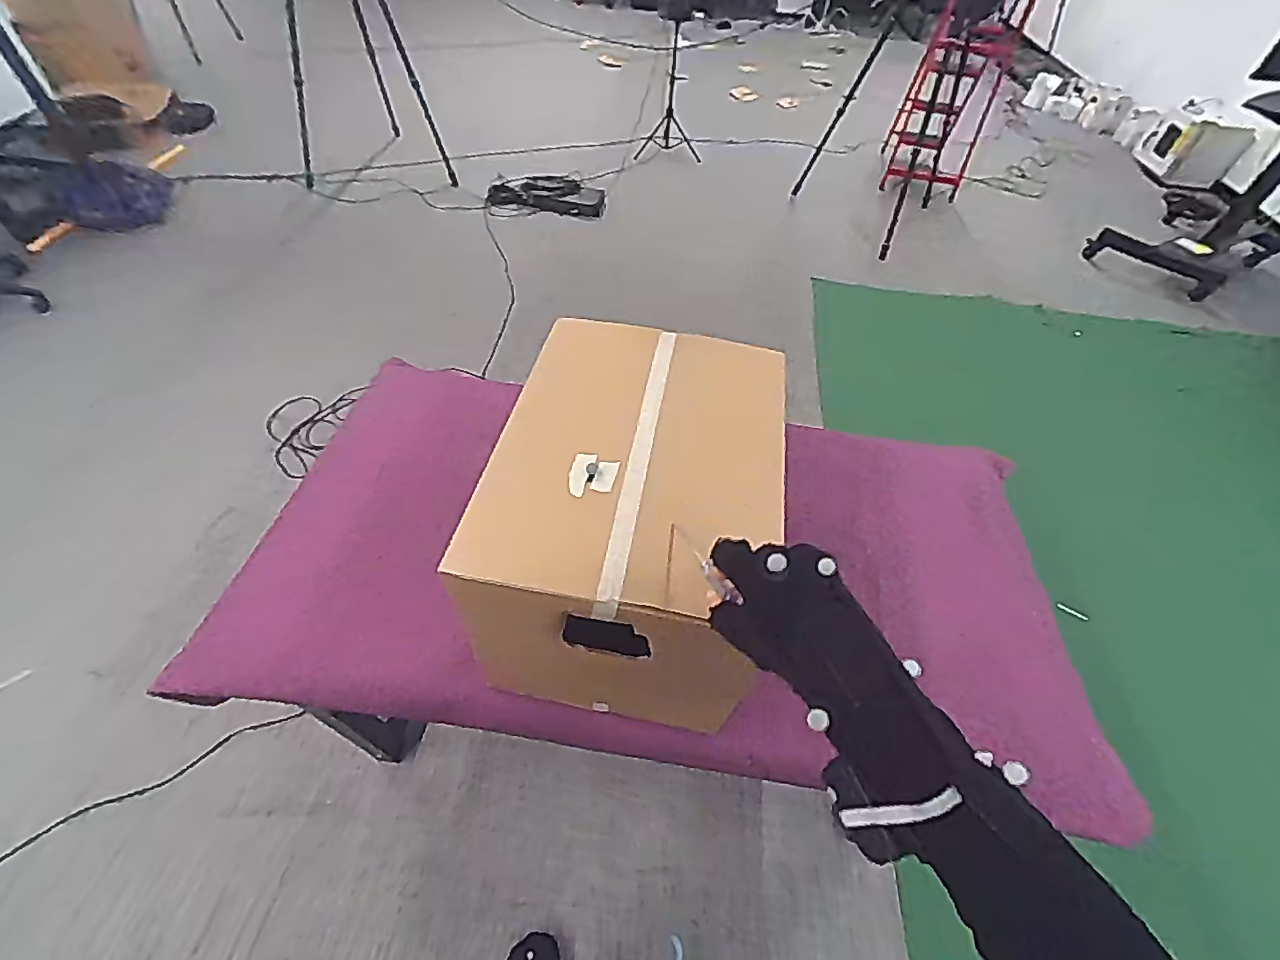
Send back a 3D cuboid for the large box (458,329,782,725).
[{"bbox_3d":[-0.004,0.060,0.735,0.320,0.320,0.408,10,51,3],"label":"large box"}]
